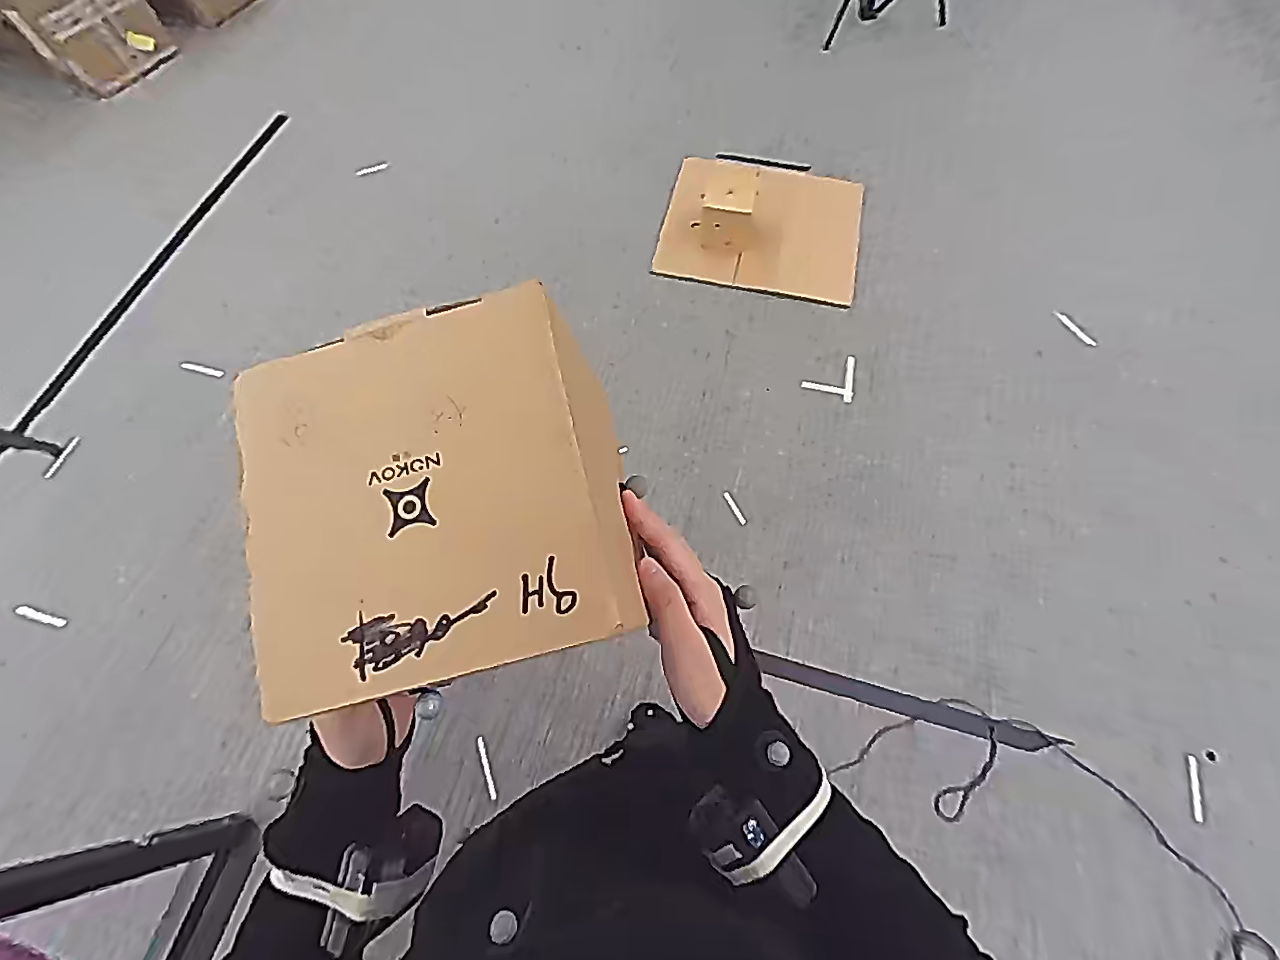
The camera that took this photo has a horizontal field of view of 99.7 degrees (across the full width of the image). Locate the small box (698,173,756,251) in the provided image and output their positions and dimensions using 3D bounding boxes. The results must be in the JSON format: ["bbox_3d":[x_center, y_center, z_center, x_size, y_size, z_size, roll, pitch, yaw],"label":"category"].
[{"bbox_3d":[0.298,-0.924,1.874,0.168,0.176,0.179,10,67,5],"label":"small box"}]

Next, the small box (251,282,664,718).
[{"bbox_3d":[-0.089,0.021,0.325,0.168,0.176,0.179,-16,75,5],"label":"small box"}]
